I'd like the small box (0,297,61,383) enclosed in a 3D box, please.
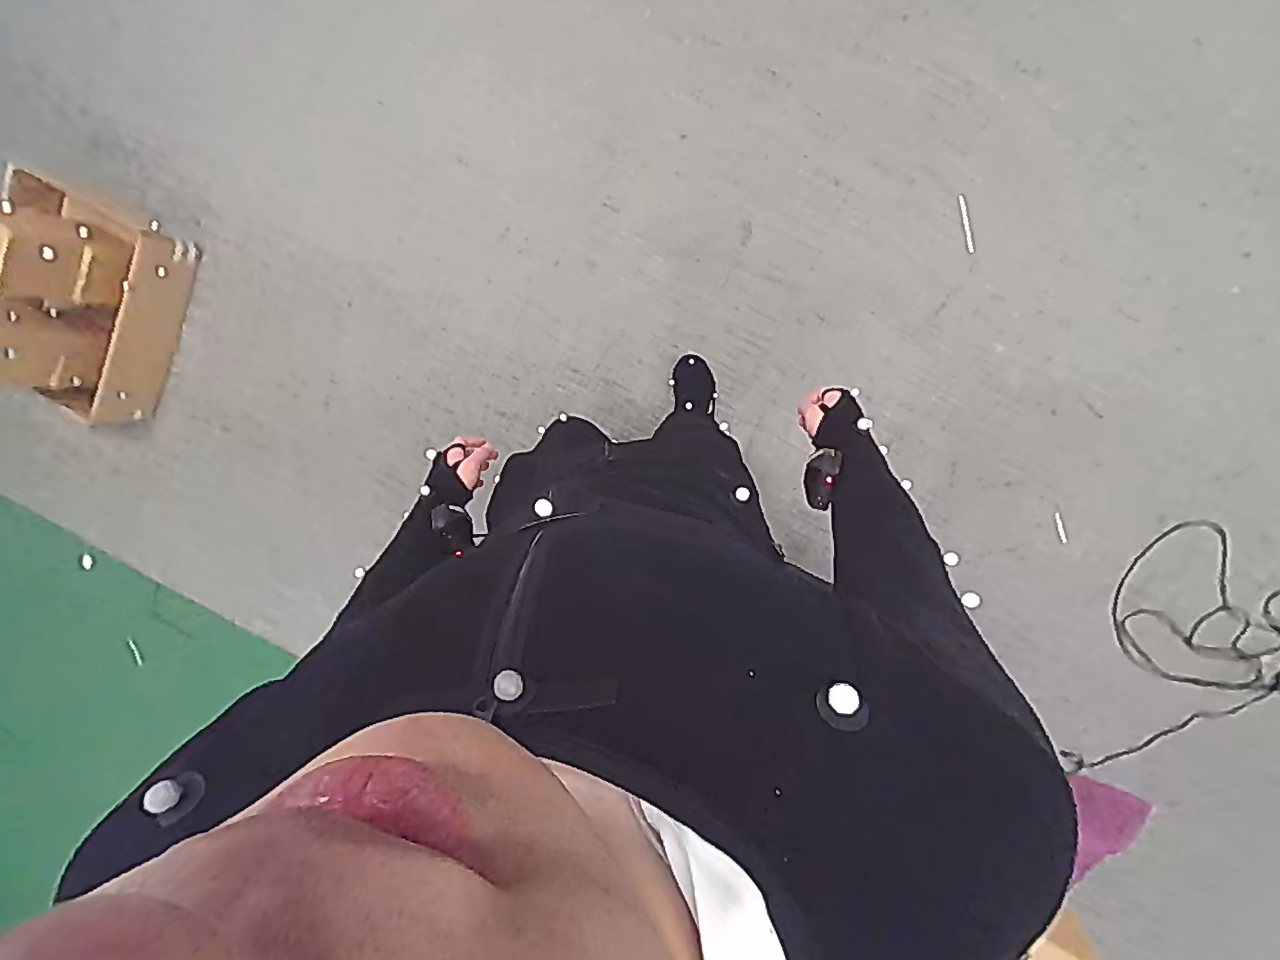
[{"bbox_3d":[-1.722,-0.377,1.440,0.168,0.176,0.179,40,104,-3],"label":"small box"}]

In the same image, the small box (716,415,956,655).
[{"bbox_3d":[0.198,0.050,0.590,0.179,0.176,0.168,37,107,2],"label":"small box"}]
